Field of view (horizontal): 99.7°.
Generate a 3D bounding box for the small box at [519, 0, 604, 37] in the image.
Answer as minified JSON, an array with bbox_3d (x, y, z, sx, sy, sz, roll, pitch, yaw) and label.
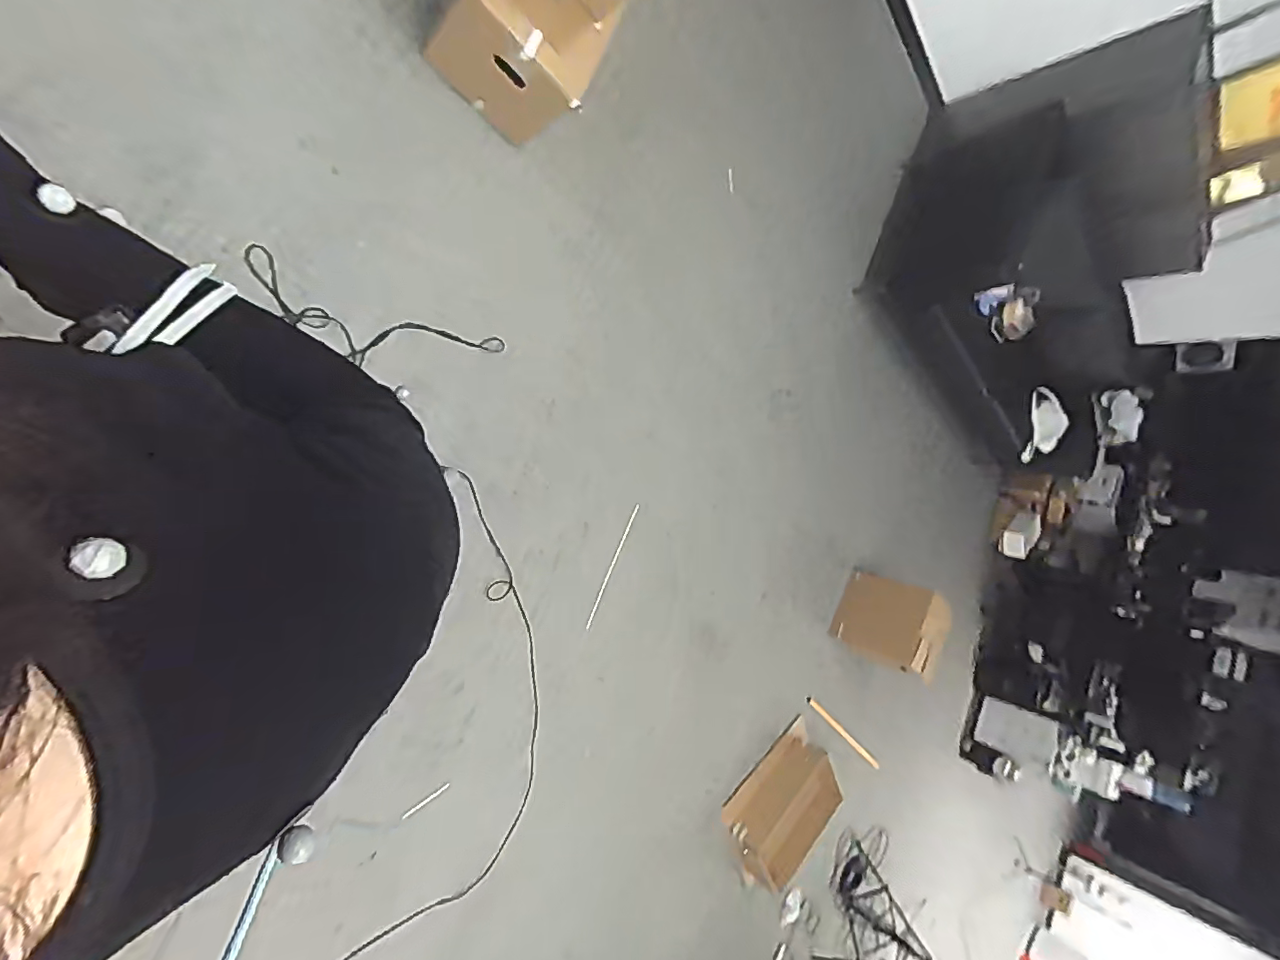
[{"bbox_3d":[-0.166,-1.109,1.163,0.179,0.176,0.168,27,80,-38],"label":"small box"}]
